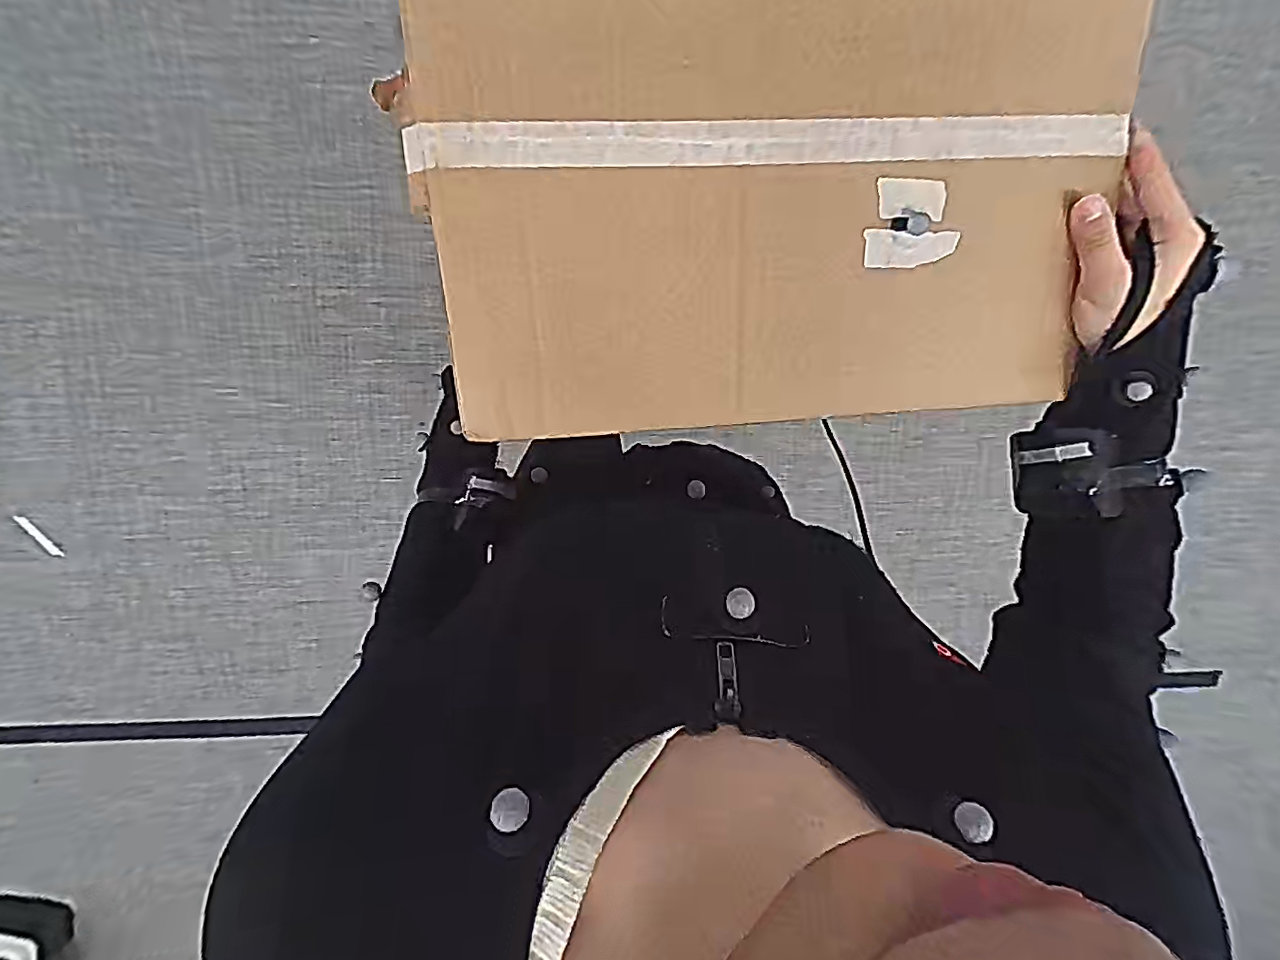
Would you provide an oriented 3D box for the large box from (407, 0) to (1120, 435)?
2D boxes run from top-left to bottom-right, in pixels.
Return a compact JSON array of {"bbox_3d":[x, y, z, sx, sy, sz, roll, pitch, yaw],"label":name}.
[{"bbox_3d":[0.061,-0.234,0.451,0.408,0.320,0.320,-5,108,-8],"label":"large box"}]
